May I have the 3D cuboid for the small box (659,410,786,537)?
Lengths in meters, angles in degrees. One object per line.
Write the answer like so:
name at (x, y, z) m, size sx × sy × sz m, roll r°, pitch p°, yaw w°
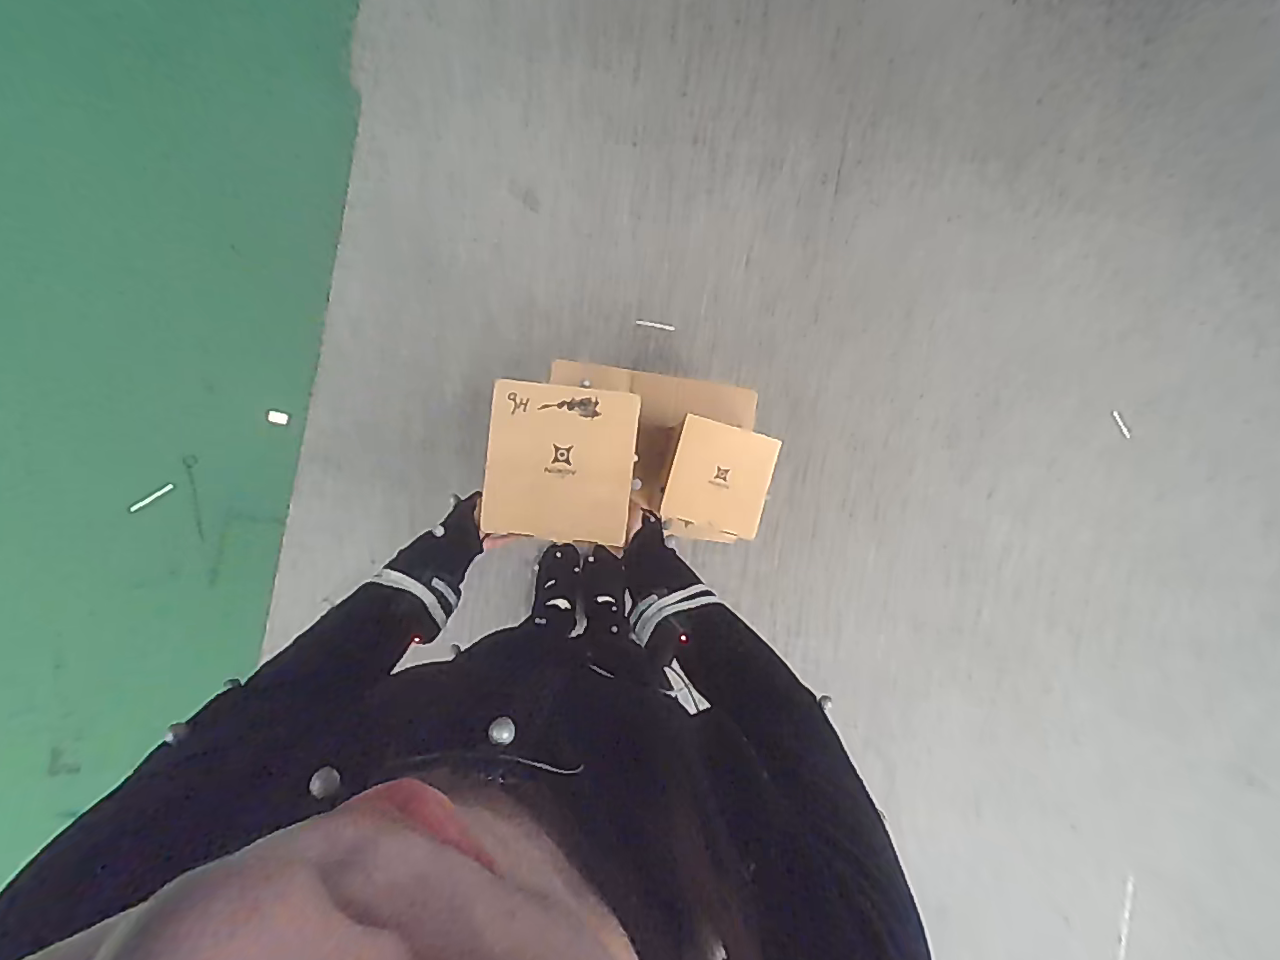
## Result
small box at (0.136, -0.010, 0.960) m, size 0.168 × 0.176 × 0.179 m, roll 15°, pitch 89°, yaw -2°

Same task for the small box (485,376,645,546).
small box at (-0.085, -0.023, 0.679) m, size 0.168 × 0.176 × 0.179 m, roll 6°, pitch 91°, yaw -2°
